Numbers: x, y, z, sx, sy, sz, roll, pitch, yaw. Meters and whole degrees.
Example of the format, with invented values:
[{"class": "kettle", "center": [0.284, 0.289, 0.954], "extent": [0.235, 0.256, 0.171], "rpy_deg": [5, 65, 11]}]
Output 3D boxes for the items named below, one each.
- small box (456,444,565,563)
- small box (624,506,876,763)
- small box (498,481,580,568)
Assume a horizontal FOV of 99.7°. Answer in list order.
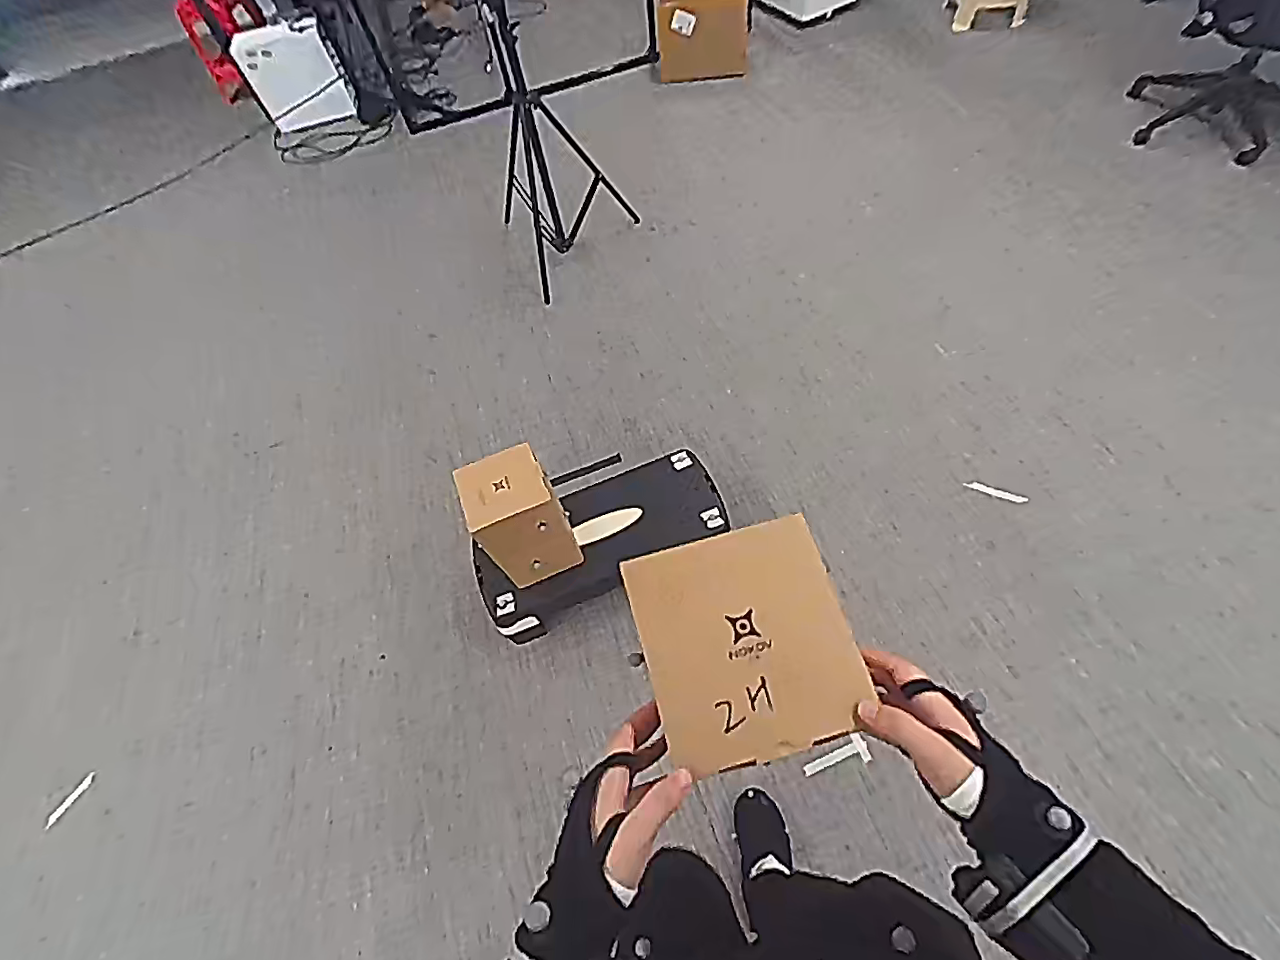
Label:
[{"class": "small box", "center": [-0.276, 0.056, 1.192], "extent": [0.179, 0.176, 0.168], "rpy_deg": [-24, 59, -7]}, {"class": "small box", "center": [0.087, 0.150, 0.516], "extent": [0.168, 0.176, 0.179], "rpy_deg": [-15, 67, -3]}, {"class": "small box", "center": [-0.258, 0.137, 1.333], "extent": [0.179, 0.176, 0.168], "rpy_deg": [-23, 60, -6]}]
